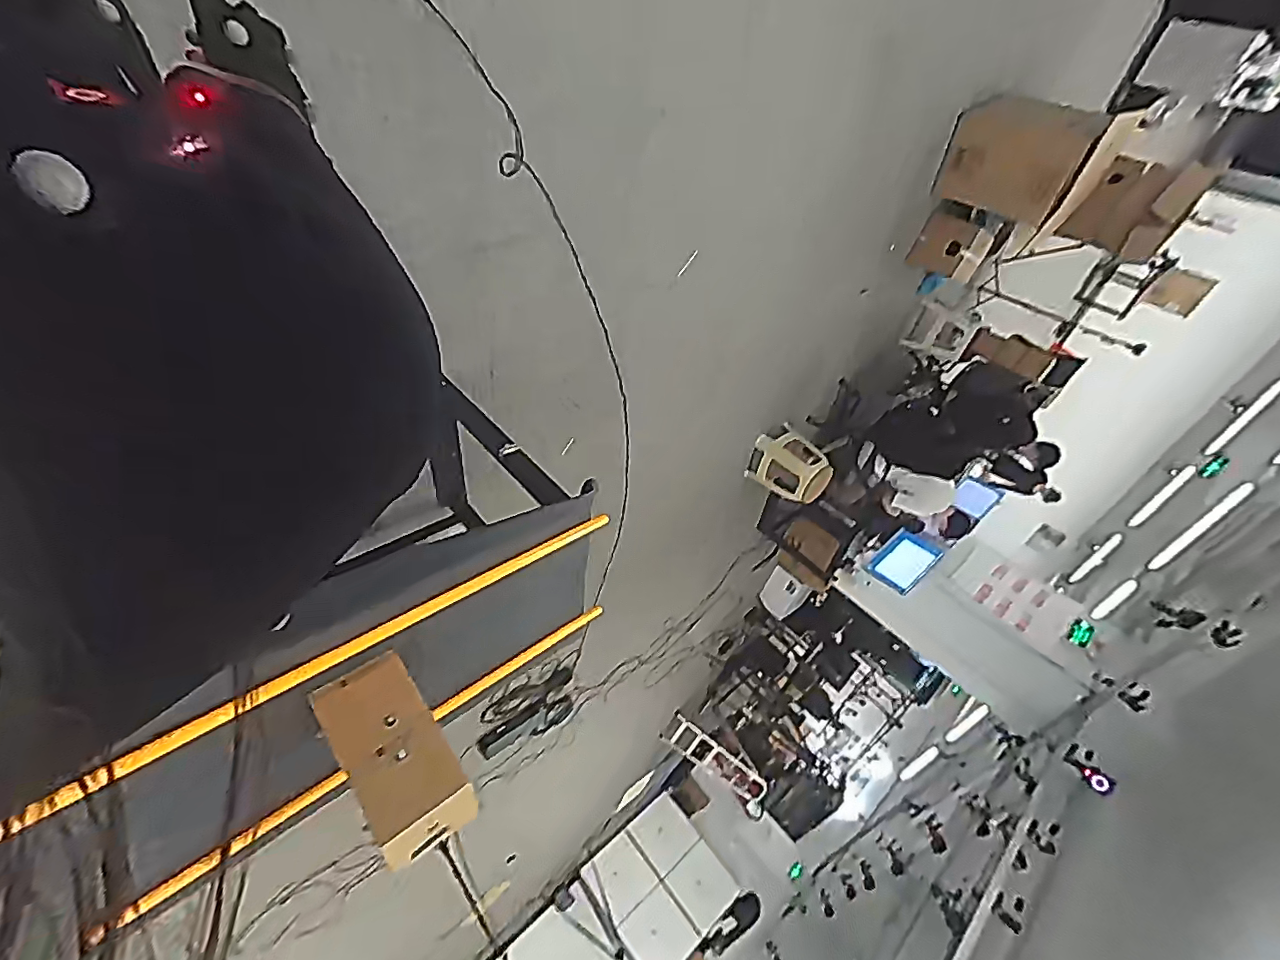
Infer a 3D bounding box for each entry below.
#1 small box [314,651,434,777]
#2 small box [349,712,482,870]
[{"bbox_3d":[-0.527,0.484,1.096,0.168,0.176,0.179,-28,144,-34],"label":"small box"},{"bbox_3d":[-0.416,0.576,1.015,0.168,0.176,0.179,-27,143,-34],"label":"small box"}]
